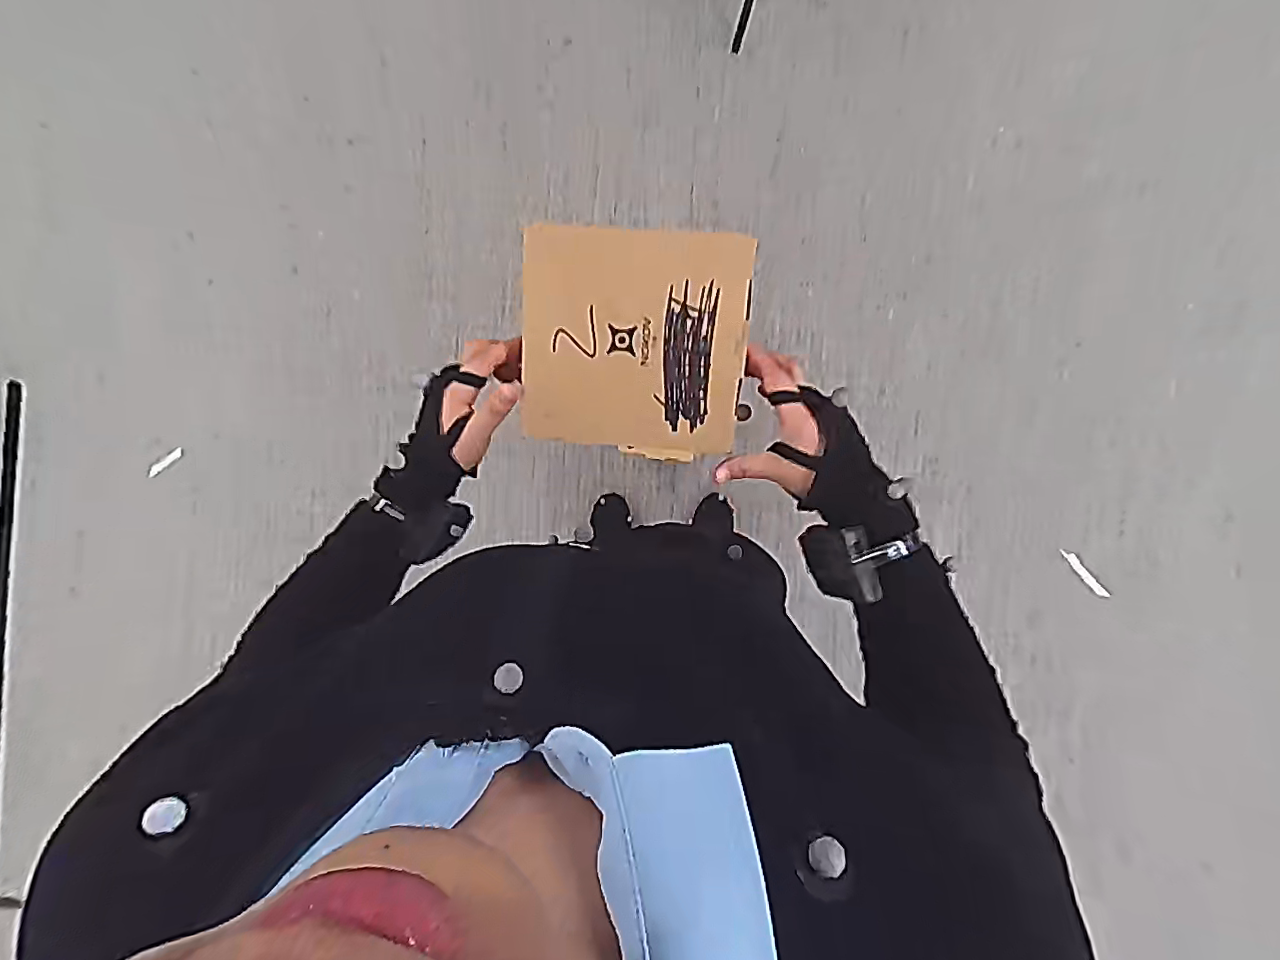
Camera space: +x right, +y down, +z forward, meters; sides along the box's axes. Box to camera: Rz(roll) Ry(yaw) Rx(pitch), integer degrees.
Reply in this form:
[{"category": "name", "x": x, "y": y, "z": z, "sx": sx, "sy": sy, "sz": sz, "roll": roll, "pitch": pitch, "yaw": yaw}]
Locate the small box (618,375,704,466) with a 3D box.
[{"category": "small box", "x": 0.051, "y": -0.131, "z": 1.248, "sx": 0.168, "sy": 0.176, "sz": 0.179, "roll": 8, "pitch": 91, "yaw": 5}]
